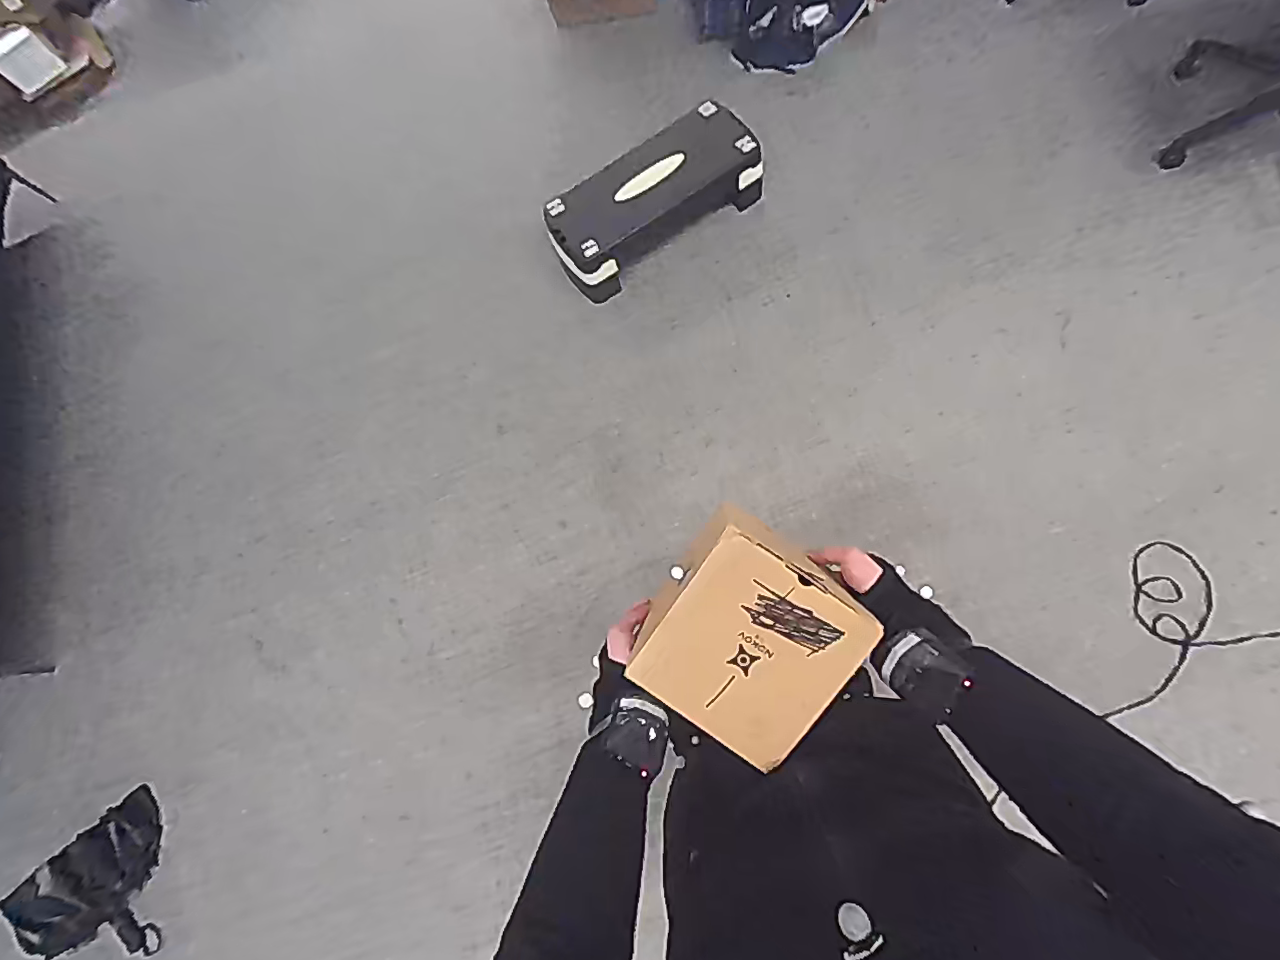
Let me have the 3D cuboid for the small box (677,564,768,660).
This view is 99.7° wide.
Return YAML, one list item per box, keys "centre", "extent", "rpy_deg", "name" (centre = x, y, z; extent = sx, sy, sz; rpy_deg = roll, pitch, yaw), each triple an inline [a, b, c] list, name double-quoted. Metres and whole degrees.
- centre: [0.207, 0.331, 1.341]
  extent: [0.168, 0.176, 0.179]
  rpy_deg: [21, 76, 15]
  name: "small box"
